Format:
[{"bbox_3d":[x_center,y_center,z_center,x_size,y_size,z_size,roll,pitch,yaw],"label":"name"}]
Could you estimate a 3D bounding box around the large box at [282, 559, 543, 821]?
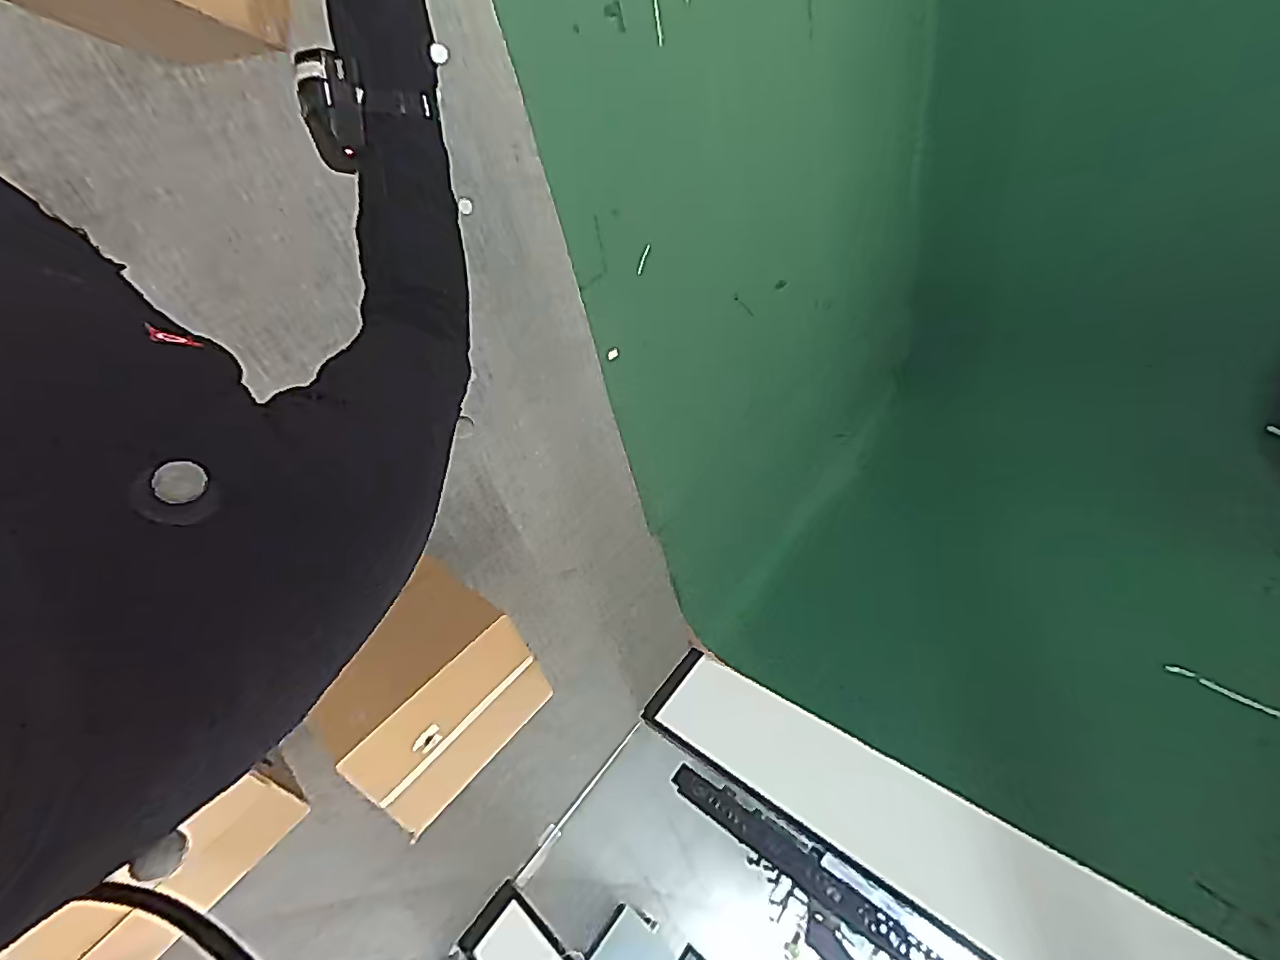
[{"bbox_3d":[-0.508,0.460,1.258,0.408,0.320,0.320,-41,132,-30],"label":"large box"}]
